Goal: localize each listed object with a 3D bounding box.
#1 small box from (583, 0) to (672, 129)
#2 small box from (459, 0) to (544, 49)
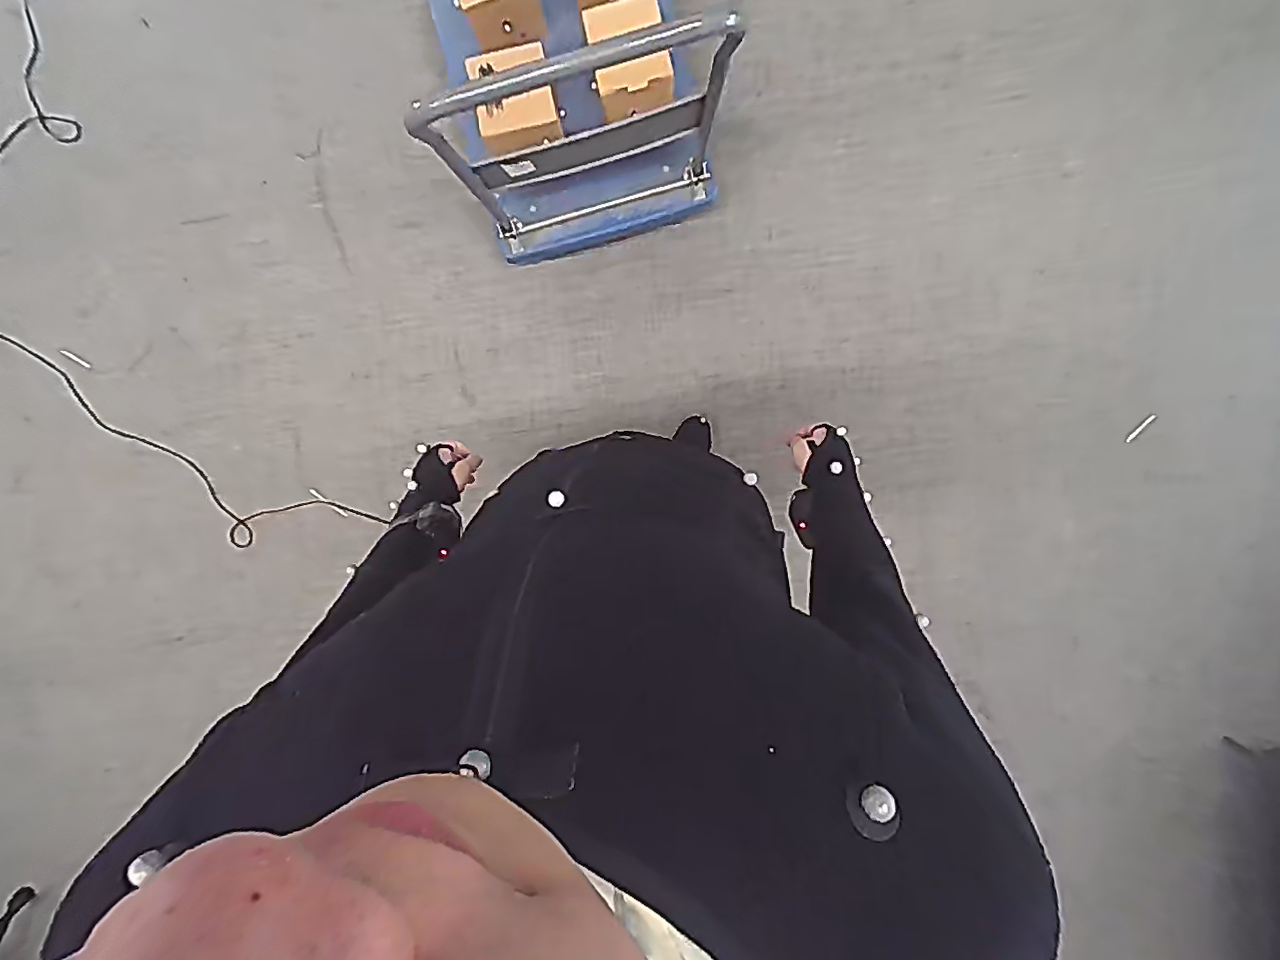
[{"bbox_3d":[-0.026,-0.965,1.258,0.168,0.176,0.179,-14,97,4],"label":"small box"},{"bbox_3d":[-0.335,-1.145,1.246,0.168,0.176,0.179,-18,96,4],"label":"small box"}]
